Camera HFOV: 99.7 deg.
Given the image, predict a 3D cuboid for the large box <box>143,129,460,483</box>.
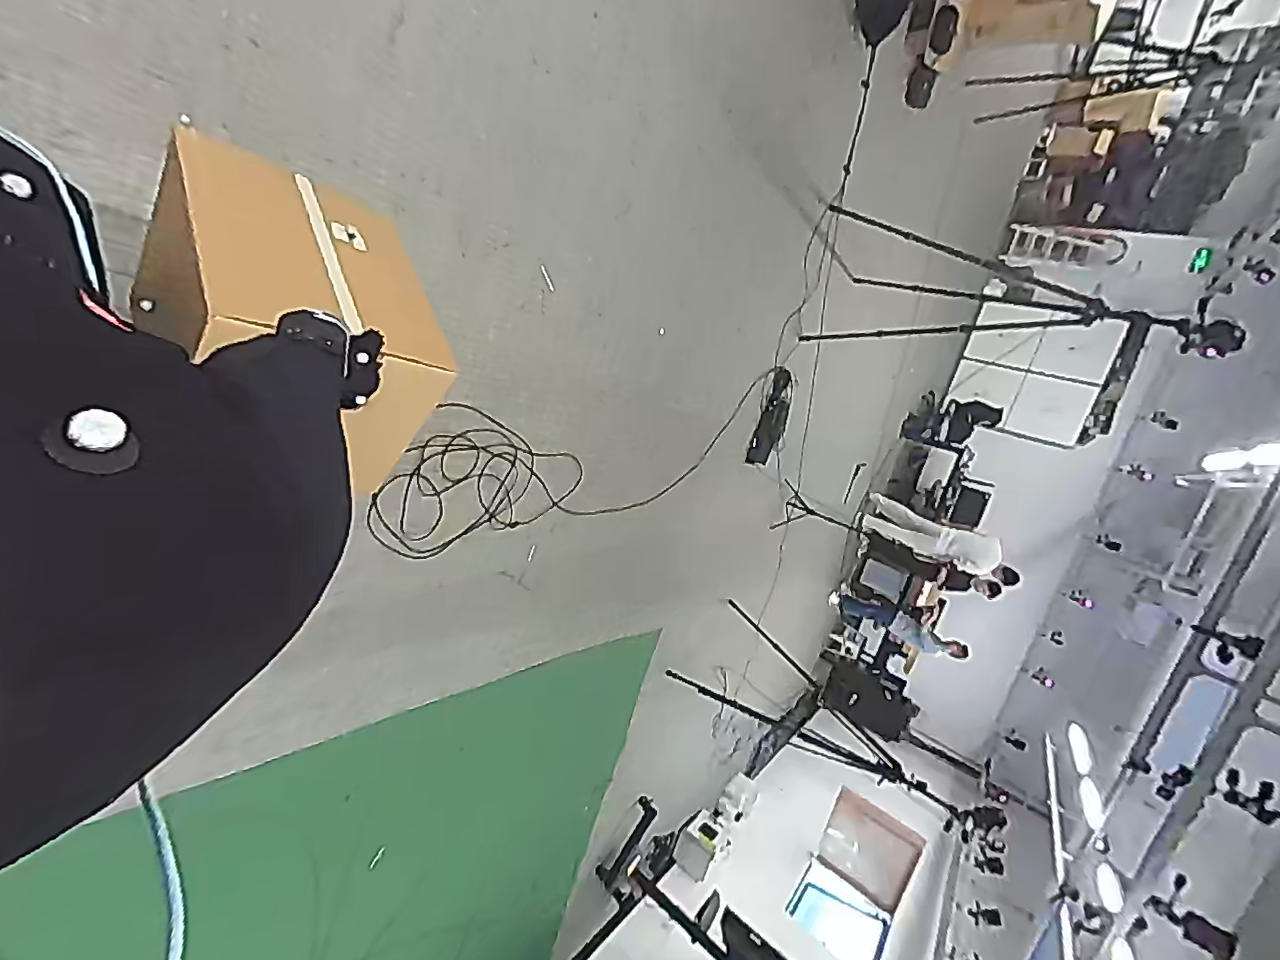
[{"bbox_3d":[-0.557,-0.242,0.871,0.320,0.408,0.320,-43,153,27],"label":"large box"}]
